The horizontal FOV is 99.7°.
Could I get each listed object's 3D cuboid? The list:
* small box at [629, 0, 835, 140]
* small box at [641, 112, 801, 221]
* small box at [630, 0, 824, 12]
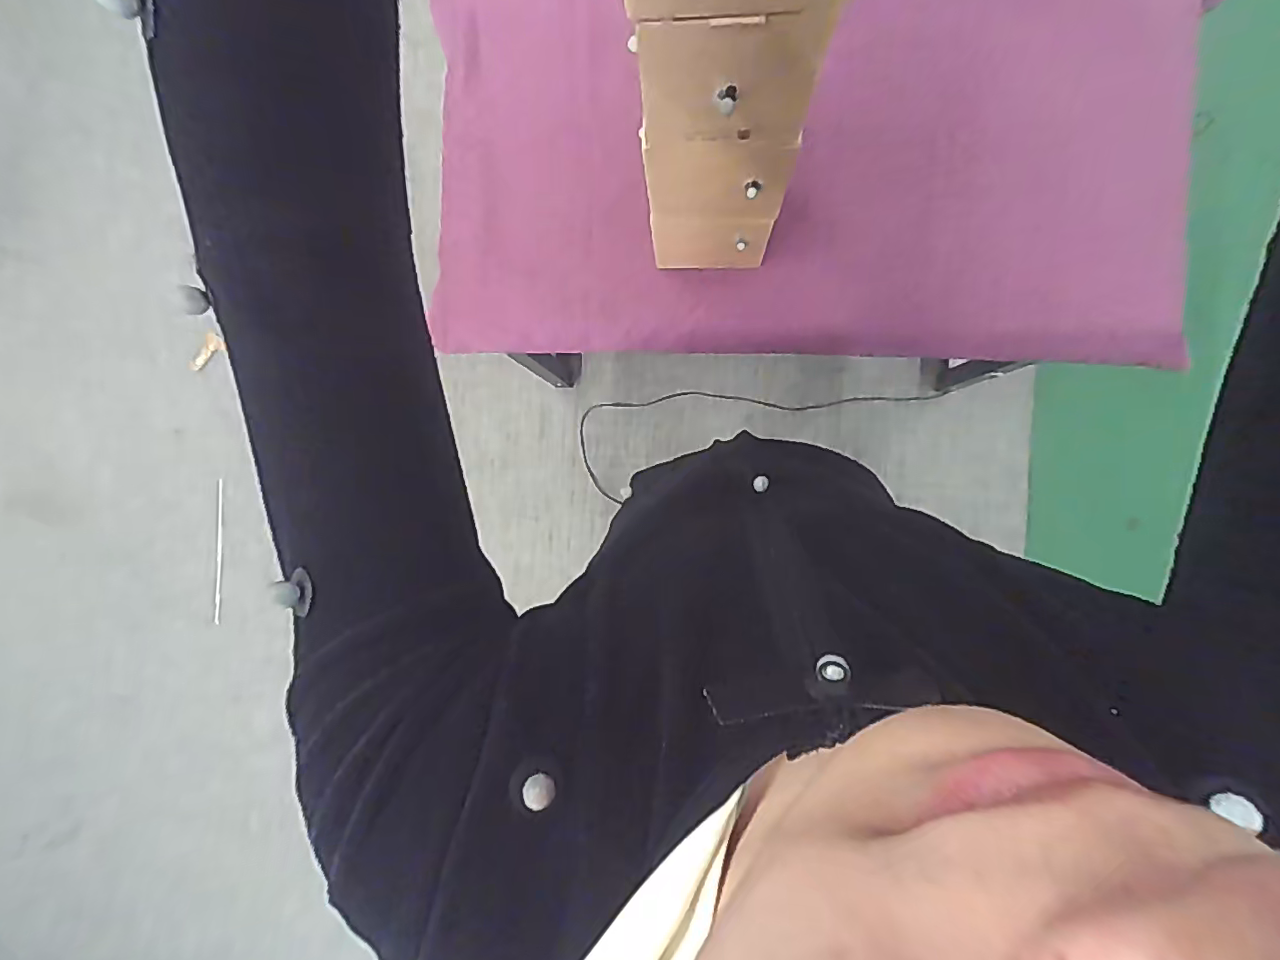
[{"bbox_3d":[0.082,-0.450,0.510,0.168,0.176,0.179,1,90,5],"label":"small box"},{"bbox_3d":[0.097,-0.442,0.672,0.179,0.176,0.168,2,89,6],"label":"small box"},{"bbox_3d":[0.068,-0.449,0.346,0.179,0.176,0.168,1,89,4],"label":"small box"}]
